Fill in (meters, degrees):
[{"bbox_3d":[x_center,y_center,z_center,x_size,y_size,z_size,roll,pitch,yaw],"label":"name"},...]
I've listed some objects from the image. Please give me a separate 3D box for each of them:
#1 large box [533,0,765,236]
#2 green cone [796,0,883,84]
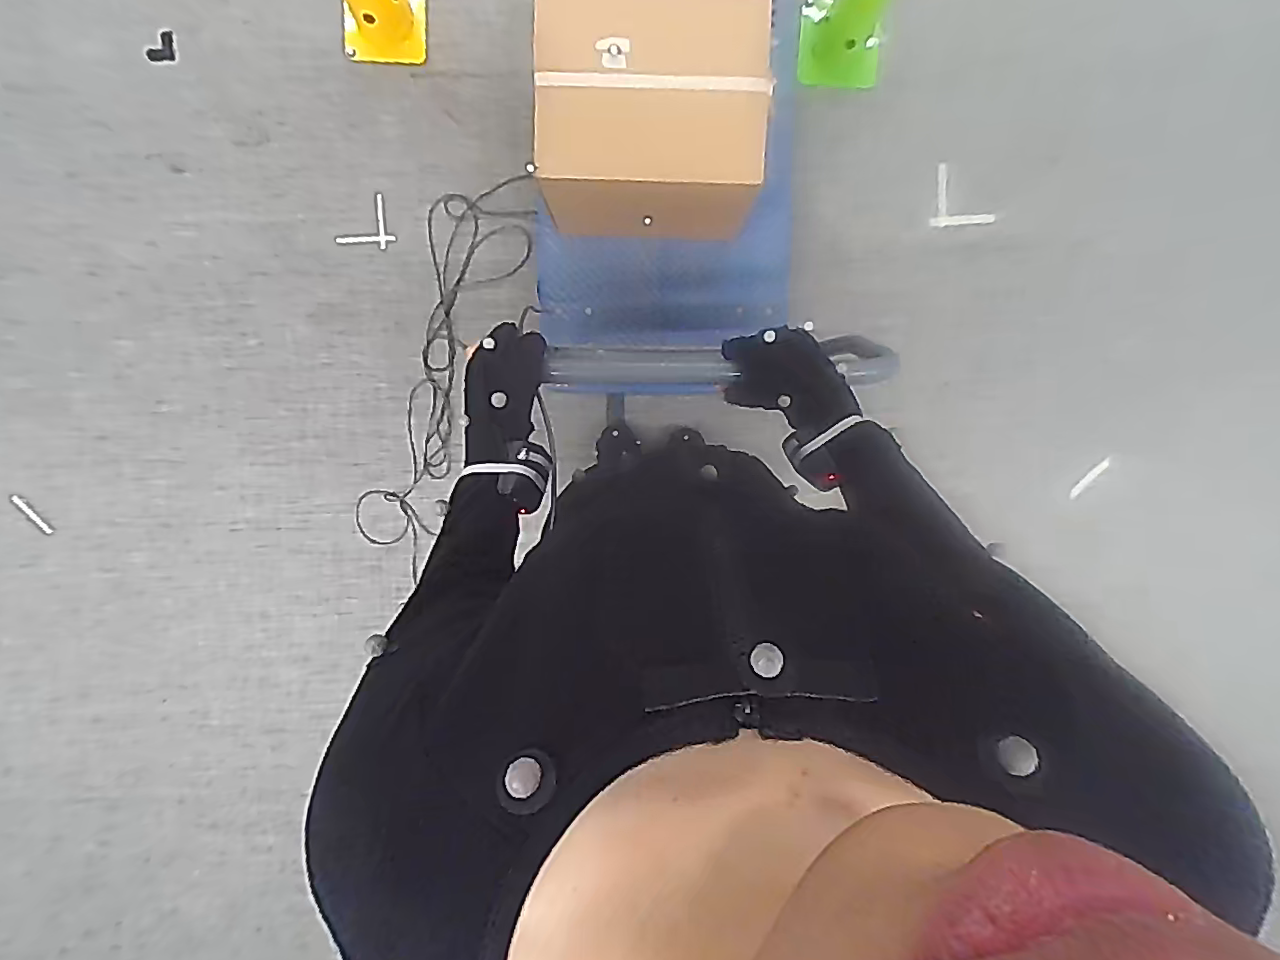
[{"bbox_3d":[0.018,-0.695,1.085,0.408,0.320,0.320,1,96,0],"label":"large box"},{"bbox_3d":[0.501,-1.087,1.189,0.202,0.368,0.200,2,96,-2],"label":"green cone"}]
